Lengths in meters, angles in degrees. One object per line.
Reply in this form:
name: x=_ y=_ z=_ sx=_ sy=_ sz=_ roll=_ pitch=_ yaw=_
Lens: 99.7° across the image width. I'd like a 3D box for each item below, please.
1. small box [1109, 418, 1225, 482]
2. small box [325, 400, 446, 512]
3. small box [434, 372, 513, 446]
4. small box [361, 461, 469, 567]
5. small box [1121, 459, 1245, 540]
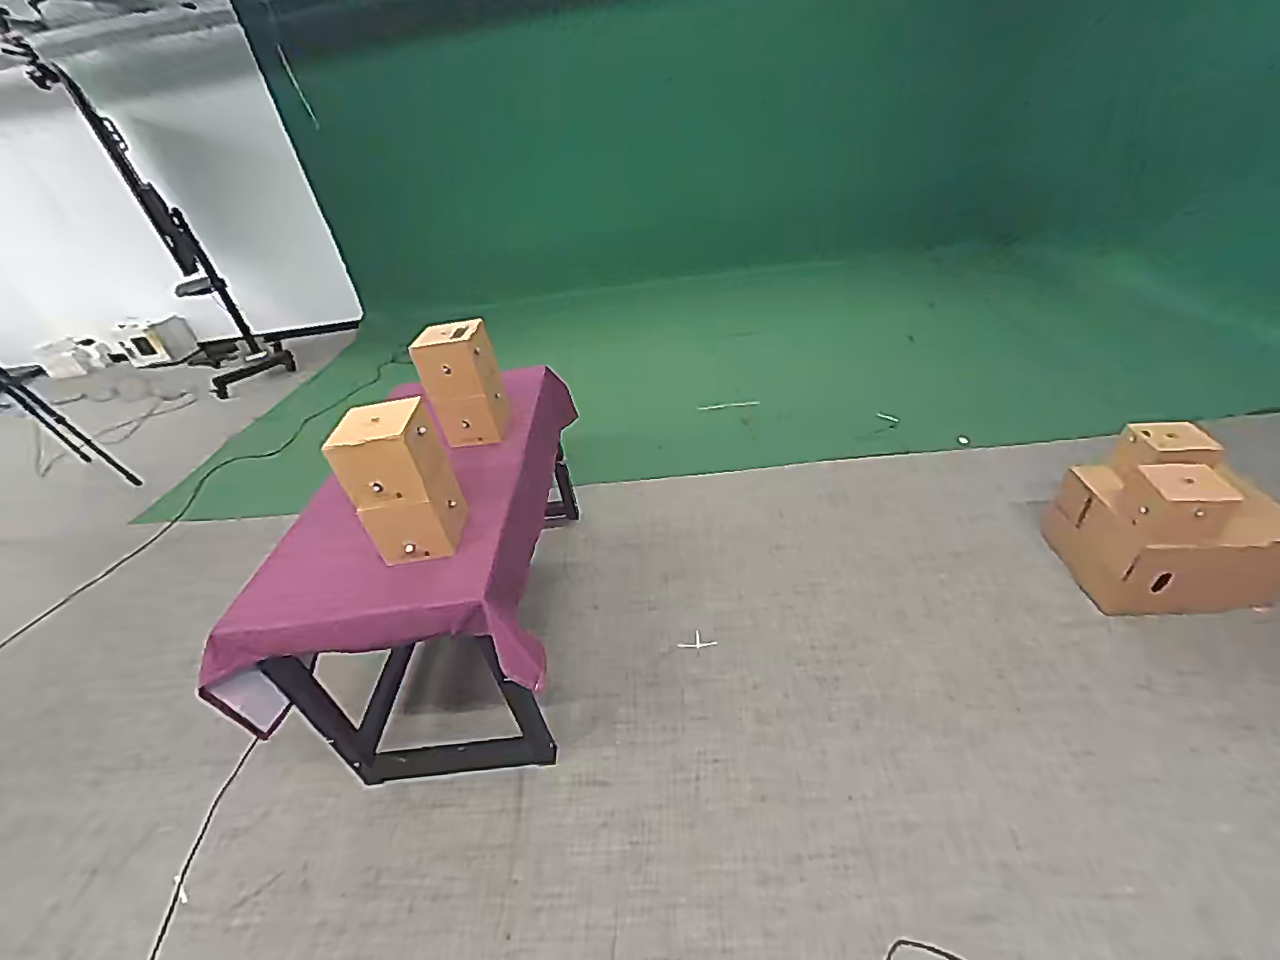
small box: x=1.641 y=-0.081 z=1.697 sx=0.179 sy=0.176 sz=0.168 roll=0 pitch=35 yaw=10
small box: x=-0.547 y=-0.054 z=1.195 sx=0.168 sy=0.176 sz=0.179 roll=-10 pitch=36 yaw=1
small box: x=-0.512 y=-0.217 z=1.695 sx=0.168 sy=0.176 sz=0.179 roll=-5 pitch=36 yaw=7
small box: x=-0.522 y=0.080 z=1.284 sx=0.168 sy=0.176 sz=0.179 roll=-10 pitch=36 yaw=2
small box: x=1.517 y=0.057 z=1.532 sx=0.179 sy=0.176 sz=0.168 roll=0 pitch=38 yaw=11
